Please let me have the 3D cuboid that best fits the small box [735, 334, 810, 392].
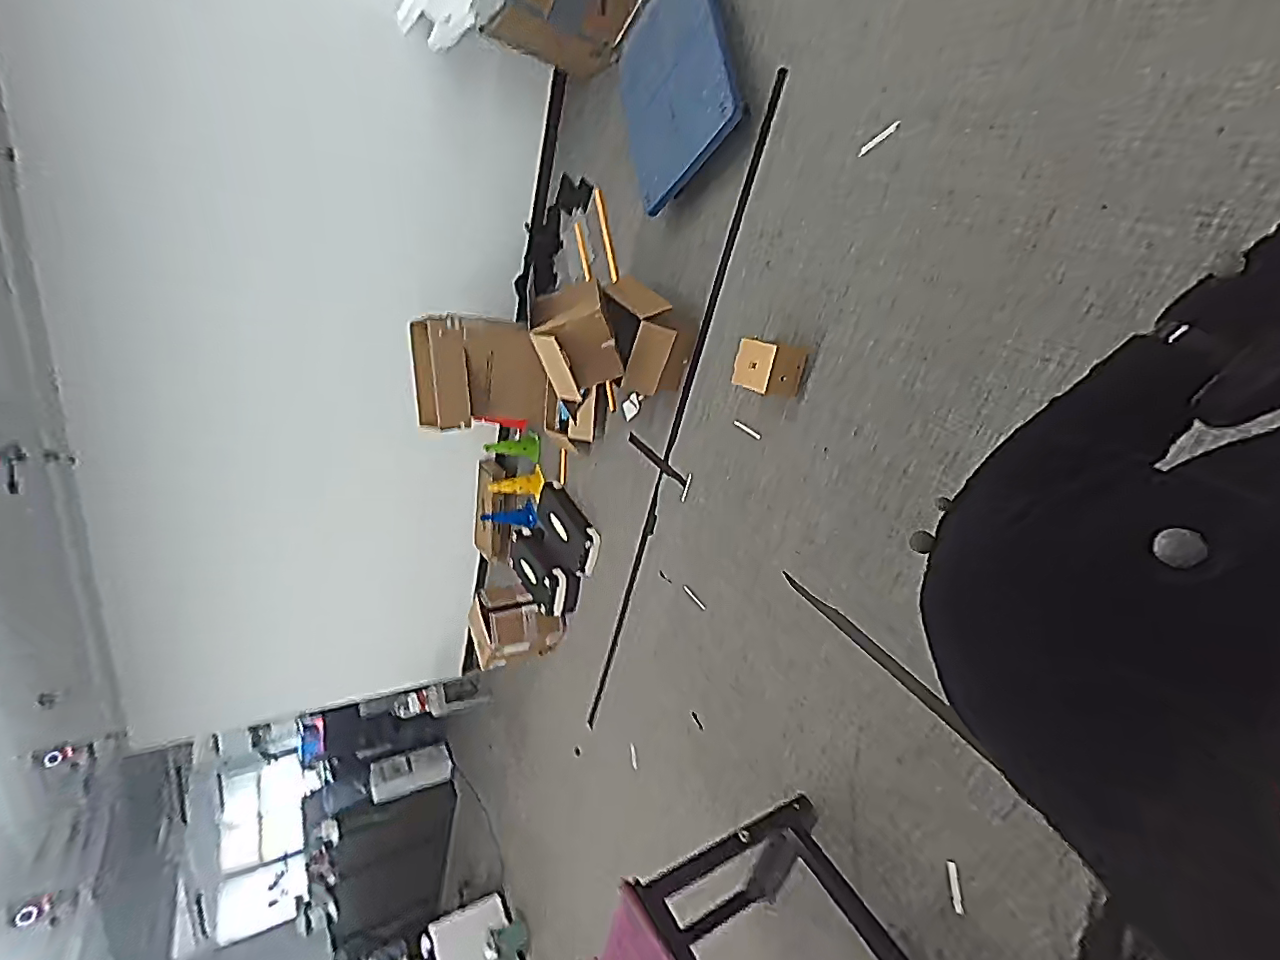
[{"bbox_3d":[0.470,-0.410,1.908,0.179,0.176,0.168,35,120,50],"label":"small box"}]
